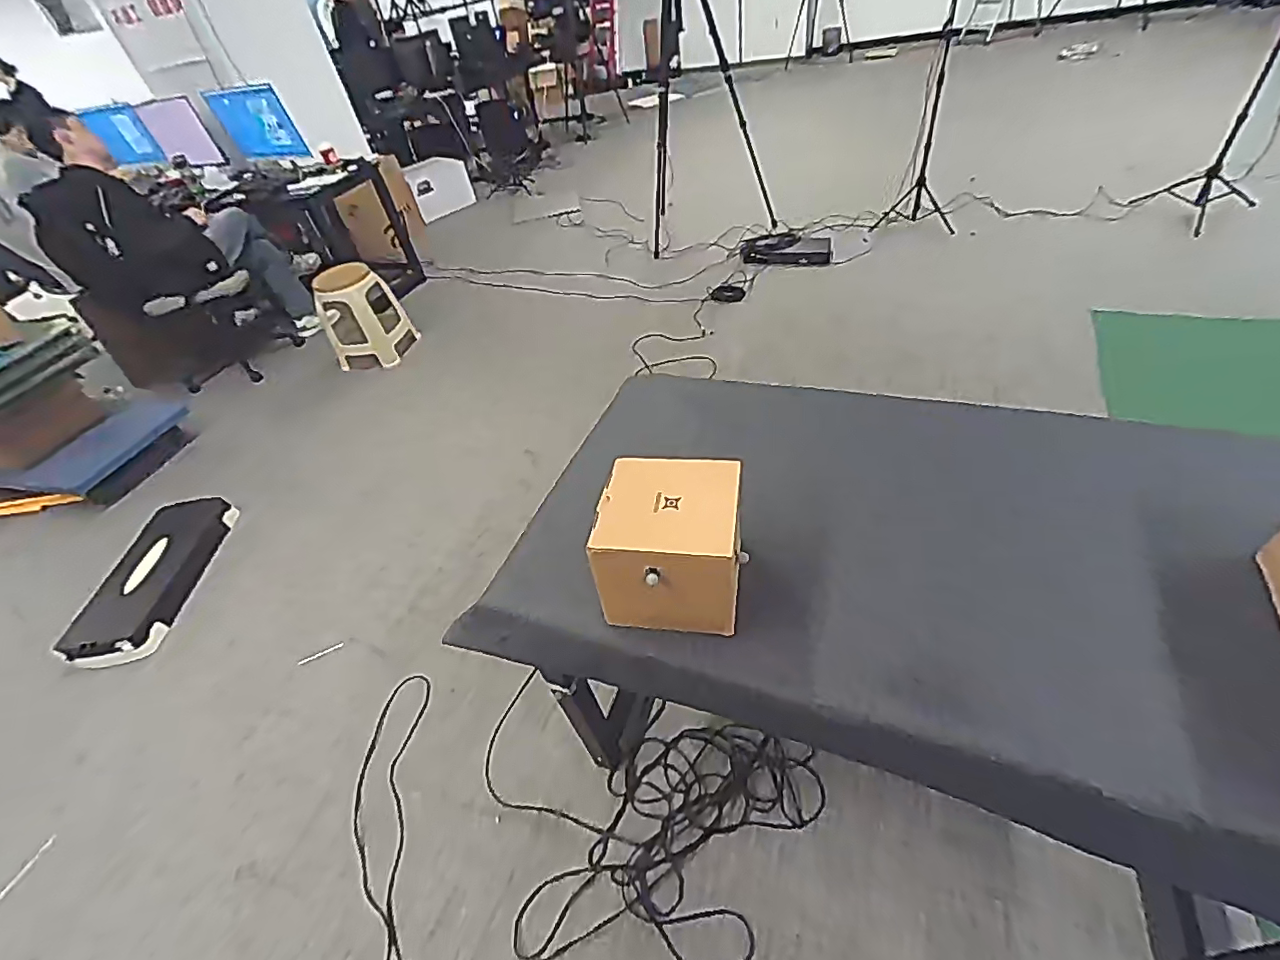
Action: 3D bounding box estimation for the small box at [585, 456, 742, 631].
[{"bbox_3d":[0.045,0.086,0.731,0.179,0.176,0.168,2,44,14],"label":"small box"}]
